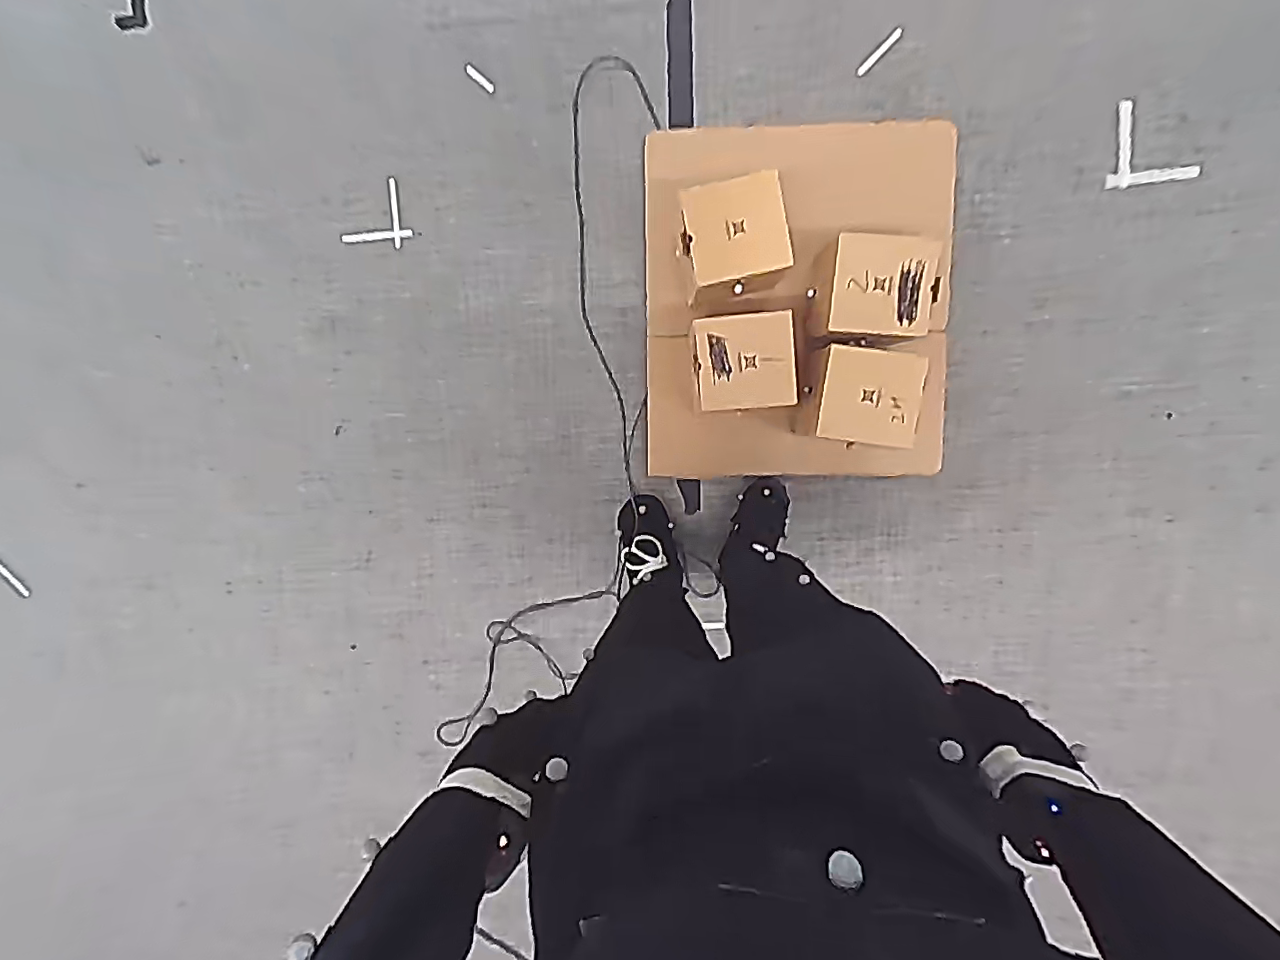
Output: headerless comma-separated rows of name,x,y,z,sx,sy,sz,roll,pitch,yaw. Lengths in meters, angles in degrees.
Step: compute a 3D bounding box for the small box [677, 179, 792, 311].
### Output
small box,0.171,-0.434,1.025,0.179,0.176,0.168,-12,95,5
